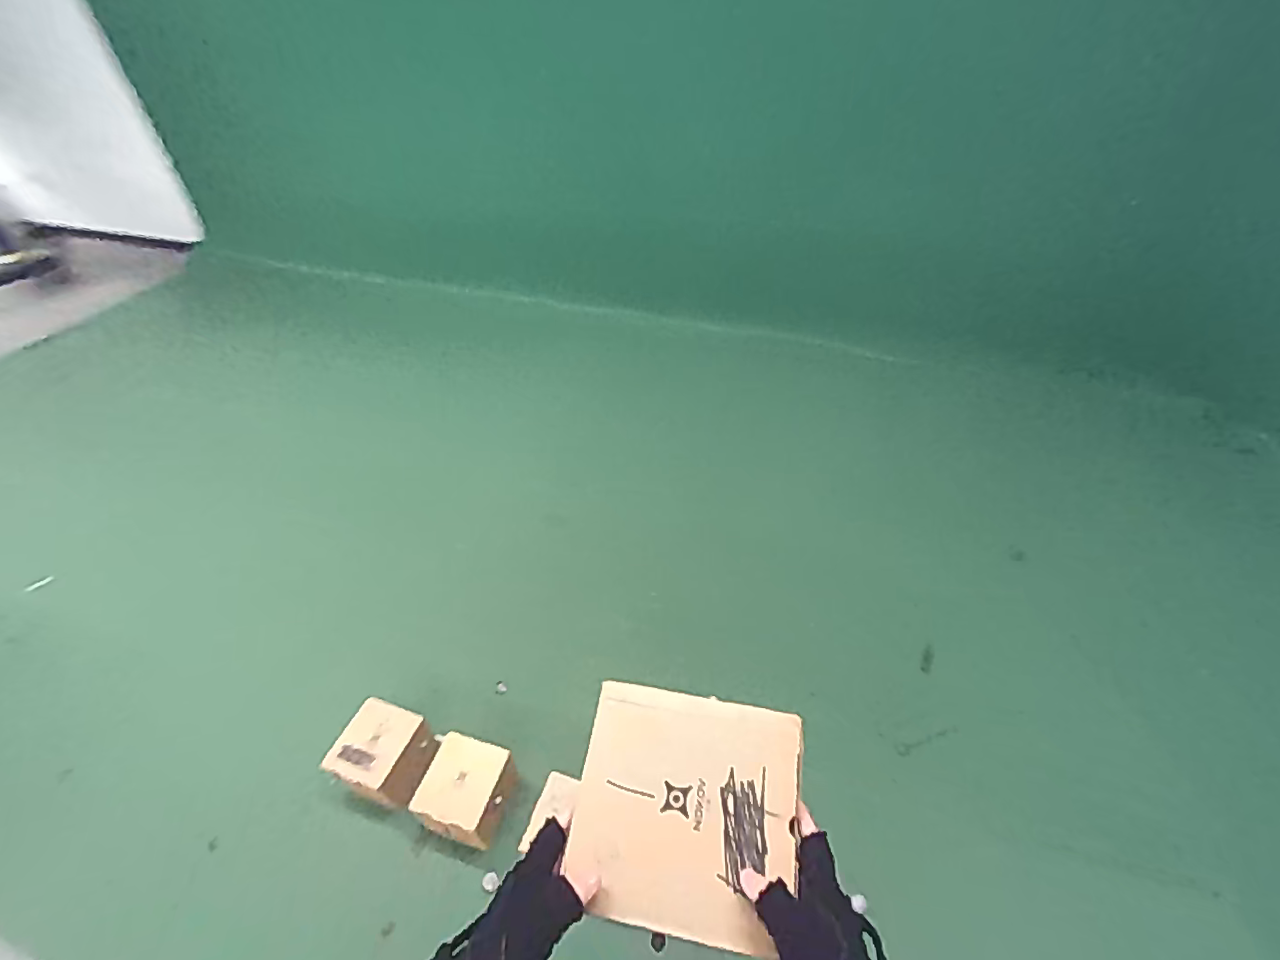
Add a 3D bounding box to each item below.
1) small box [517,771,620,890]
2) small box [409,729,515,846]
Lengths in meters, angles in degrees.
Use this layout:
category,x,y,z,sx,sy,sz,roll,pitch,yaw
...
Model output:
category,x,y,z,sx,sy,sz,roll,pitch,yaw
small box,-0.154,0.801,1.230,0.179,0.176,0.168,15,46,14
small box,-0.414,0.737,1.295,0.168,0.176,0.179,13,46,12
